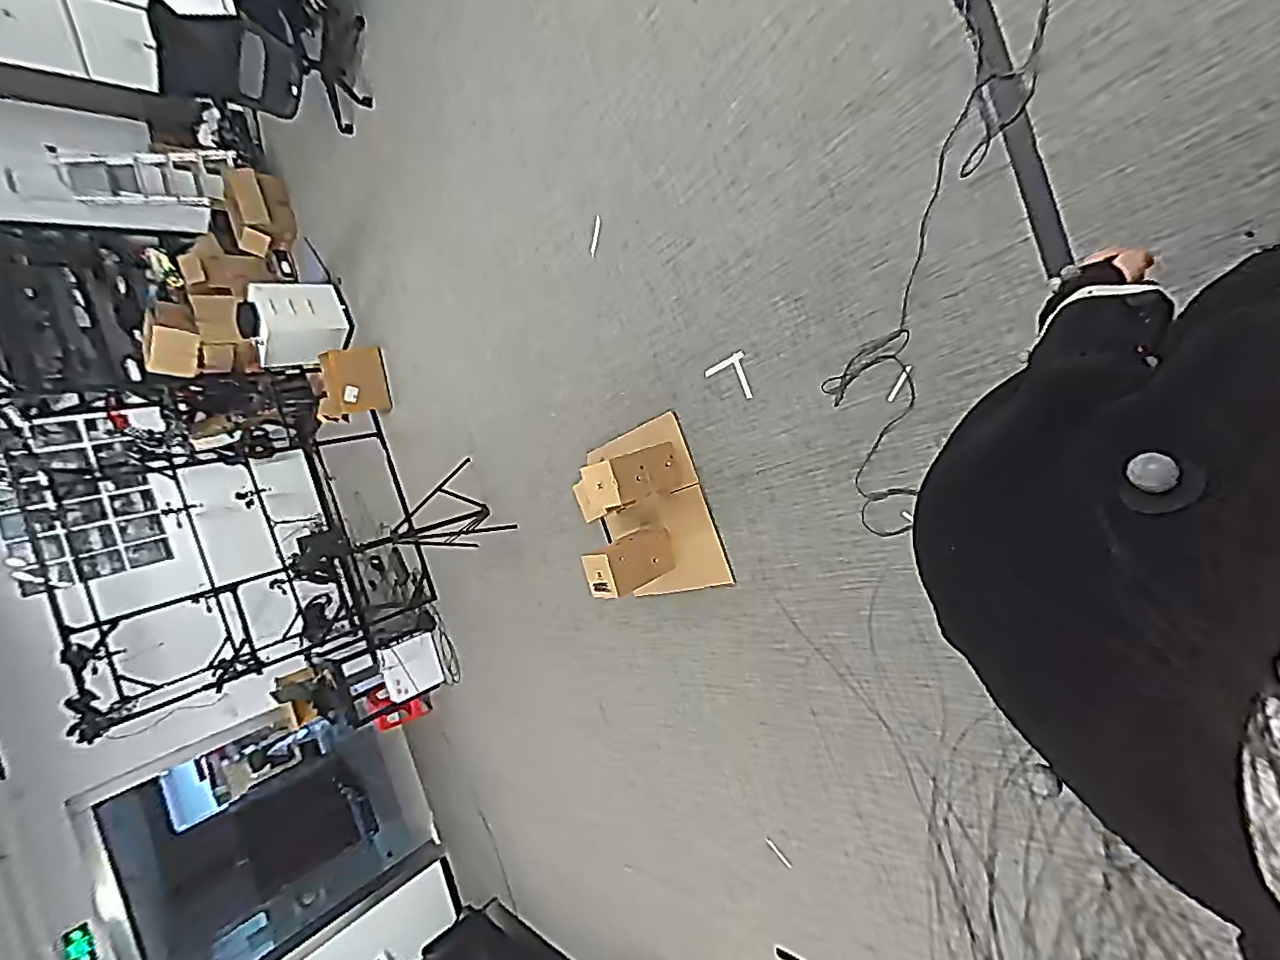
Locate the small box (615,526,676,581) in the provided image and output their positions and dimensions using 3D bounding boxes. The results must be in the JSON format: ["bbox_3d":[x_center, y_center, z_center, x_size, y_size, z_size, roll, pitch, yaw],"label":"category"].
[{"bbox_3d":[0.027,0.300,2.225,0.168,0.176,0.179,-7,100,47],"label":"small box"}]

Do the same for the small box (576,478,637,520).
[{"bbox_3d":[-0.143,0.051,2.325,0.168,0.176,0.179,-27,84,49],"label":"small box"}]

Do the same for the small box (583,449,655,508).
[{"bbox_3d":[-0.075,-0.005,1.984,0.179,0.176,0.168,-15,92,47],"label":"small box"}]
